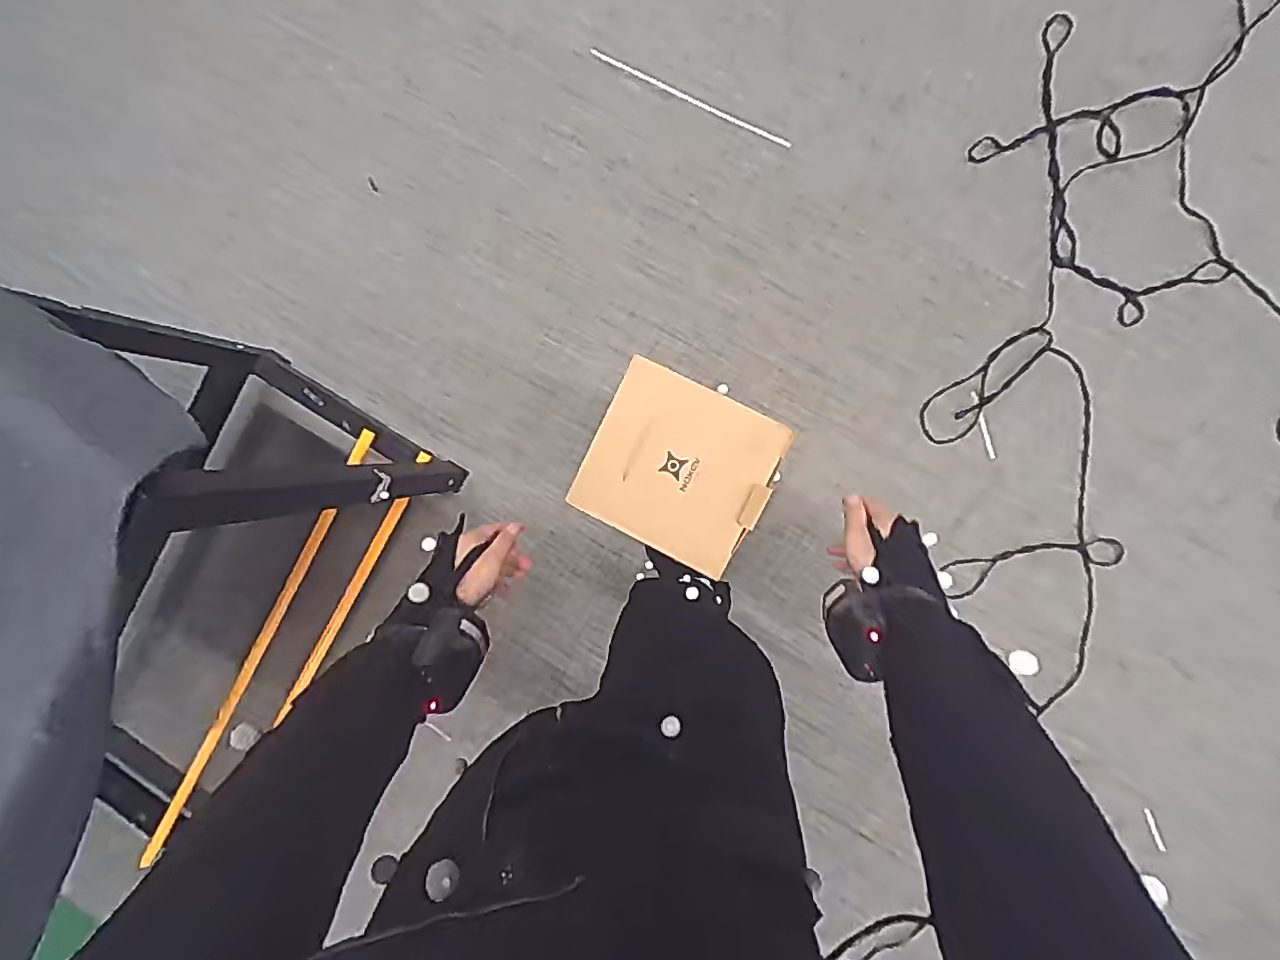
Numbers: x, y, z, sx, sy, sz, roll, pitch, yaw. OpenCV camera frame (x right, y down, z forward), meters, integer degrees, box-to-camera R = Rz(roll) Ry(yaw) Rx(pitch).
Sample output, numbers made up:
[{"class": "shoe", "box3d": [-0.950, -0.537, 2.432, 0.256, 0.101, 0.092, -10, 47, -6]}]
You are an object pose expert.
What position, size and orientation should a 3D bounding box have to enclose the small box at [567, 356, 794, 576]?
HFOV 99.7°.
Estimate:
[{"class": "small box", "box3d": [0.047, -0.017, 0.611, 0.179, 0.176, 0.168, 27, 95, 6]}]
